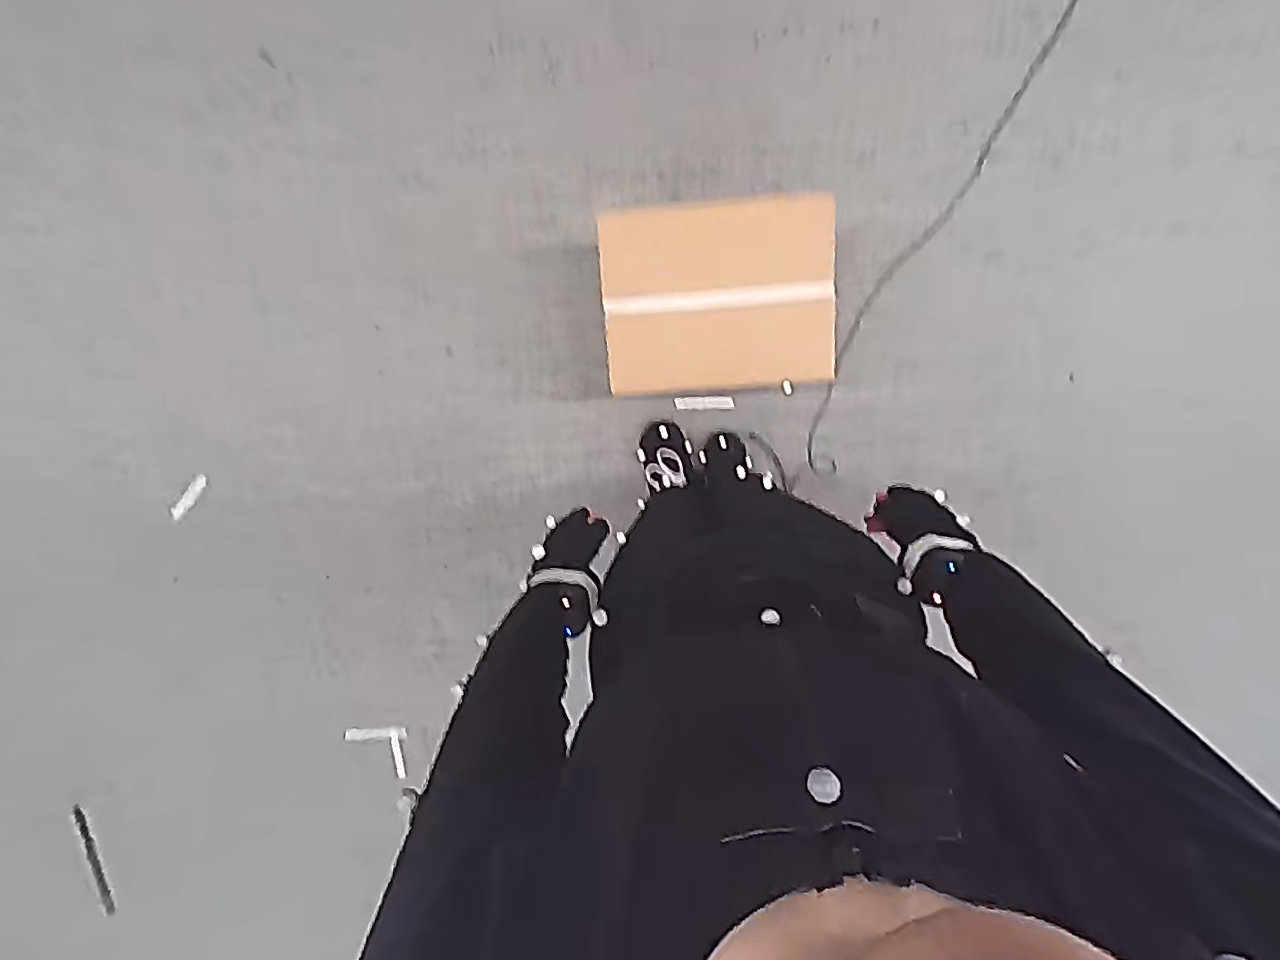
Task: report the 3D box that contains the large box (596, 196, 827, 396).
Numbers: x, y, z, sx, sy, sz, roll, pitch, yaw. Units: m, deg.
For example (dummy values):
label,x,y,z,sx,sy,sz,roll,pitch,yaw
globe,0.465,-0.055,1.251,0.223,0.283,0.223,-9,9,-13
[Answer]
label,x,y,z,sx,sy,sz,roll,pitch,yaw
large box,0.139,-0.356,1.110,0.408,0.320,0.320,-4,103,3
